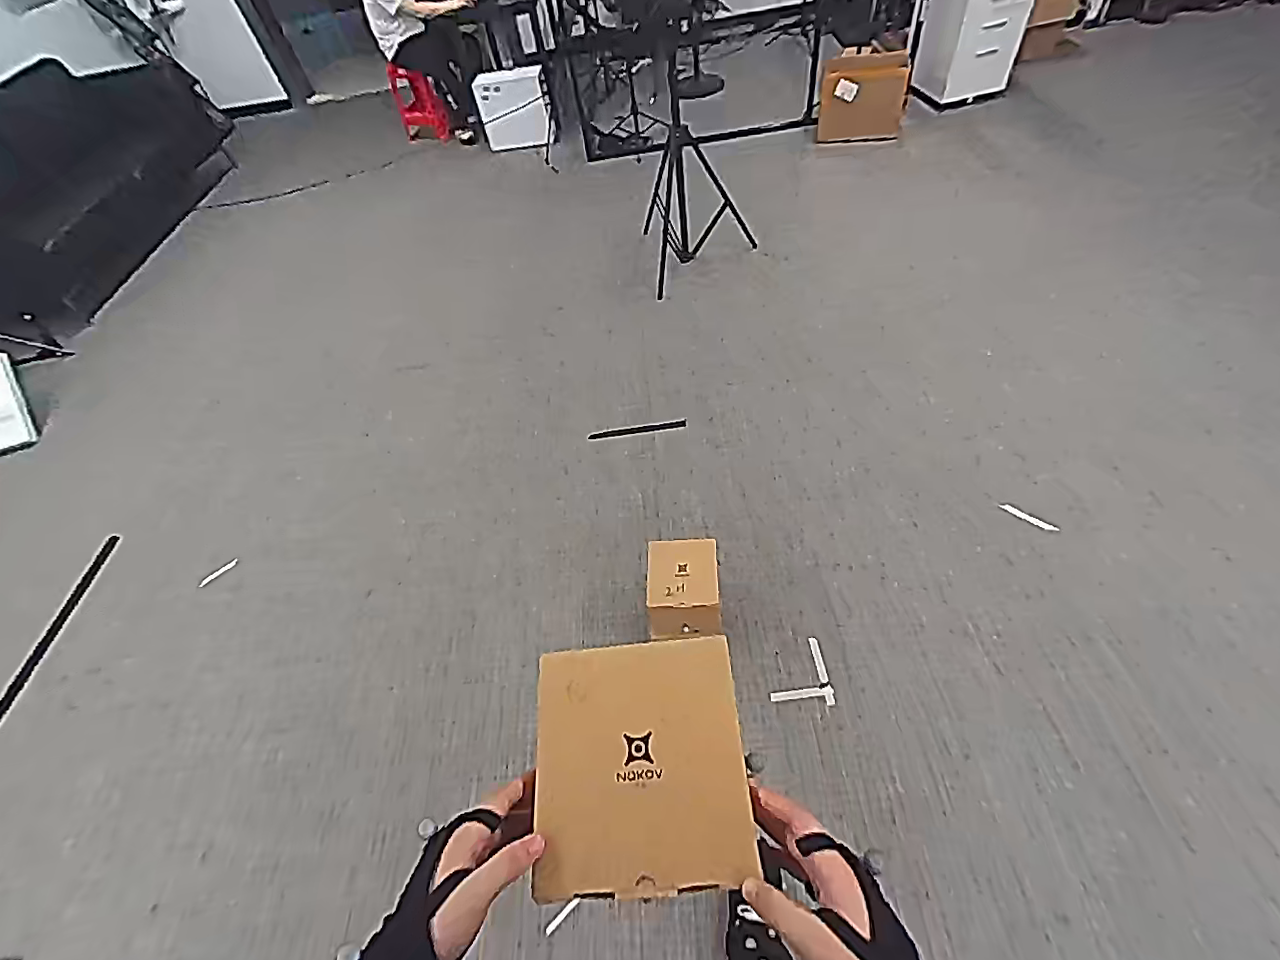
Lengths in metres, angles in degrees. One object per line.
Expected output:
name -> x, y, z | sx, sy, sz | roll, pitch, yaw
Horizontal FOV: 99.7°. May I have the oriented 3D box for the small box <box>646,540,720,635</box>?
small box -> 0.109, 0.265, 1.325 | 0.168, 0.176, 0.179 | -4, 52, 8
